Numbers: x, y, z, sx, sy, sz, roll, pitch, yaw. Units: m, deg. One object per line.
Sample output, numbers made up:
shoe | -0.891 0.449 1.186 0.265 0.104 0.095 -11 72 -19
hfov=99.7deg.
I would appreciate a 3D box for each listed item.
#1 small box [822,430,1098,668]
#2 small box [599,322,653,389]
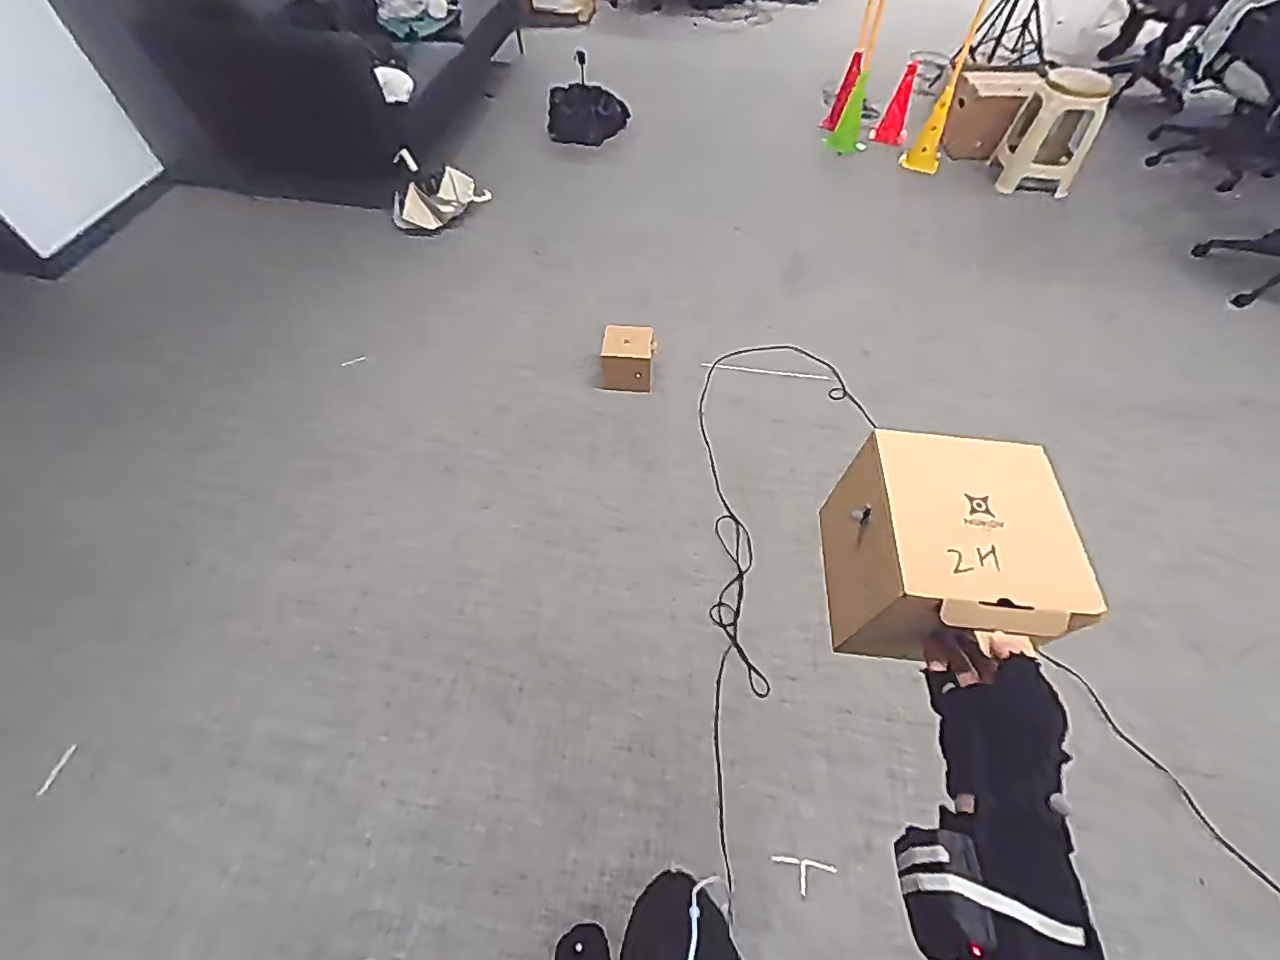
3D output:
small box | 0.296 0.075 0.552 0.168 0.176 0.179 6 57 1
small box | -0.048 -0.445 1.952 0.179 0.176 0.168 4 55 3
